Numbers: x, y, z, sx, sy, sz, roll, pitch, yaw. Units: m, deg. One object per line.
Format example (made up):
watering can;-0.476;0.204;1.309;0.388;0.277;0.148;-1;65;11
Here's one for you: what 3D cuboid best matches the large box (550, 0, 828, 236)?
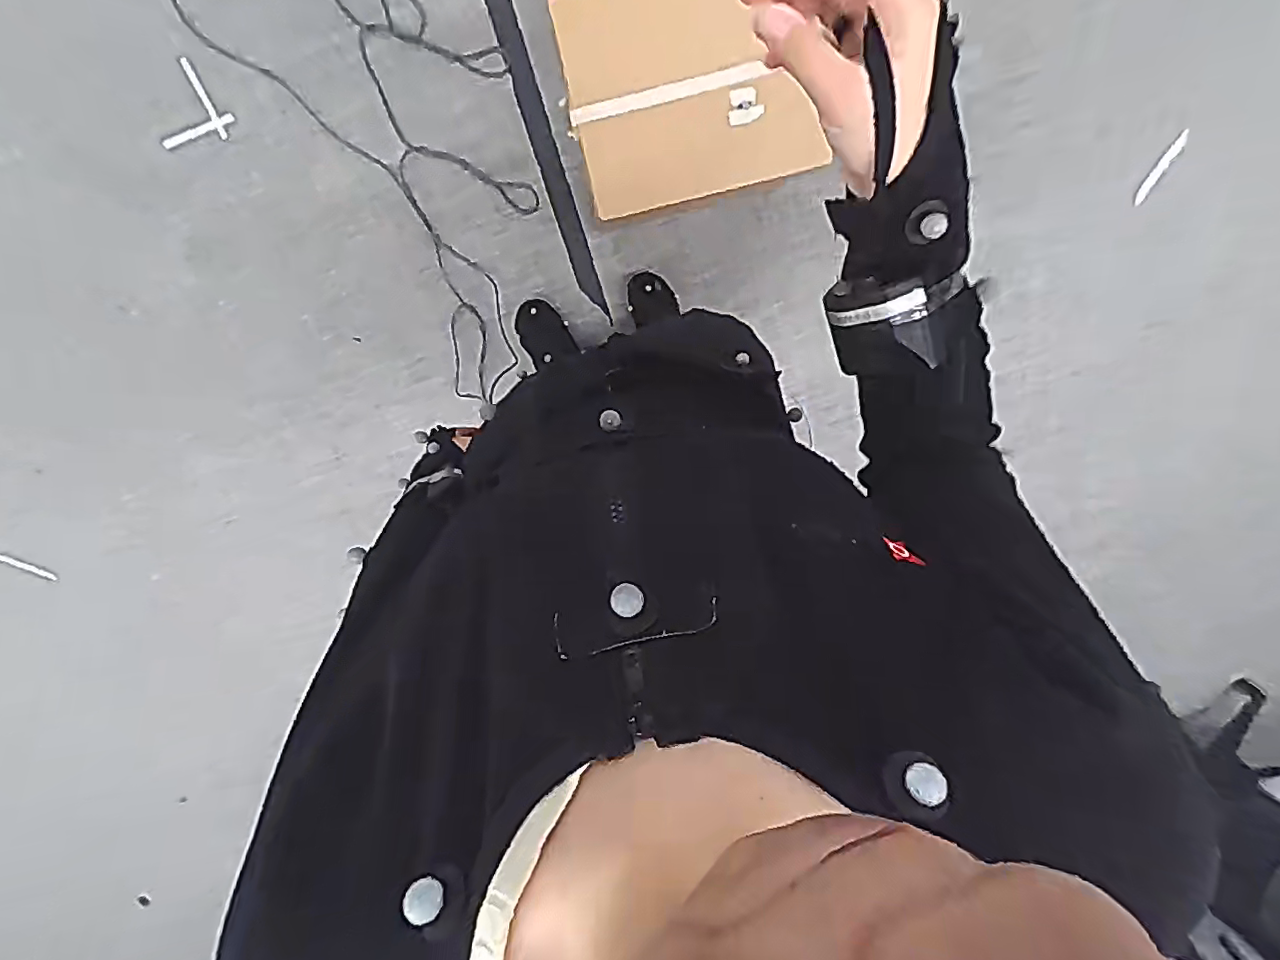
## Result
large box;0.077;-0.669;0.994;0.408;0.320;0.320;-14;112;0
